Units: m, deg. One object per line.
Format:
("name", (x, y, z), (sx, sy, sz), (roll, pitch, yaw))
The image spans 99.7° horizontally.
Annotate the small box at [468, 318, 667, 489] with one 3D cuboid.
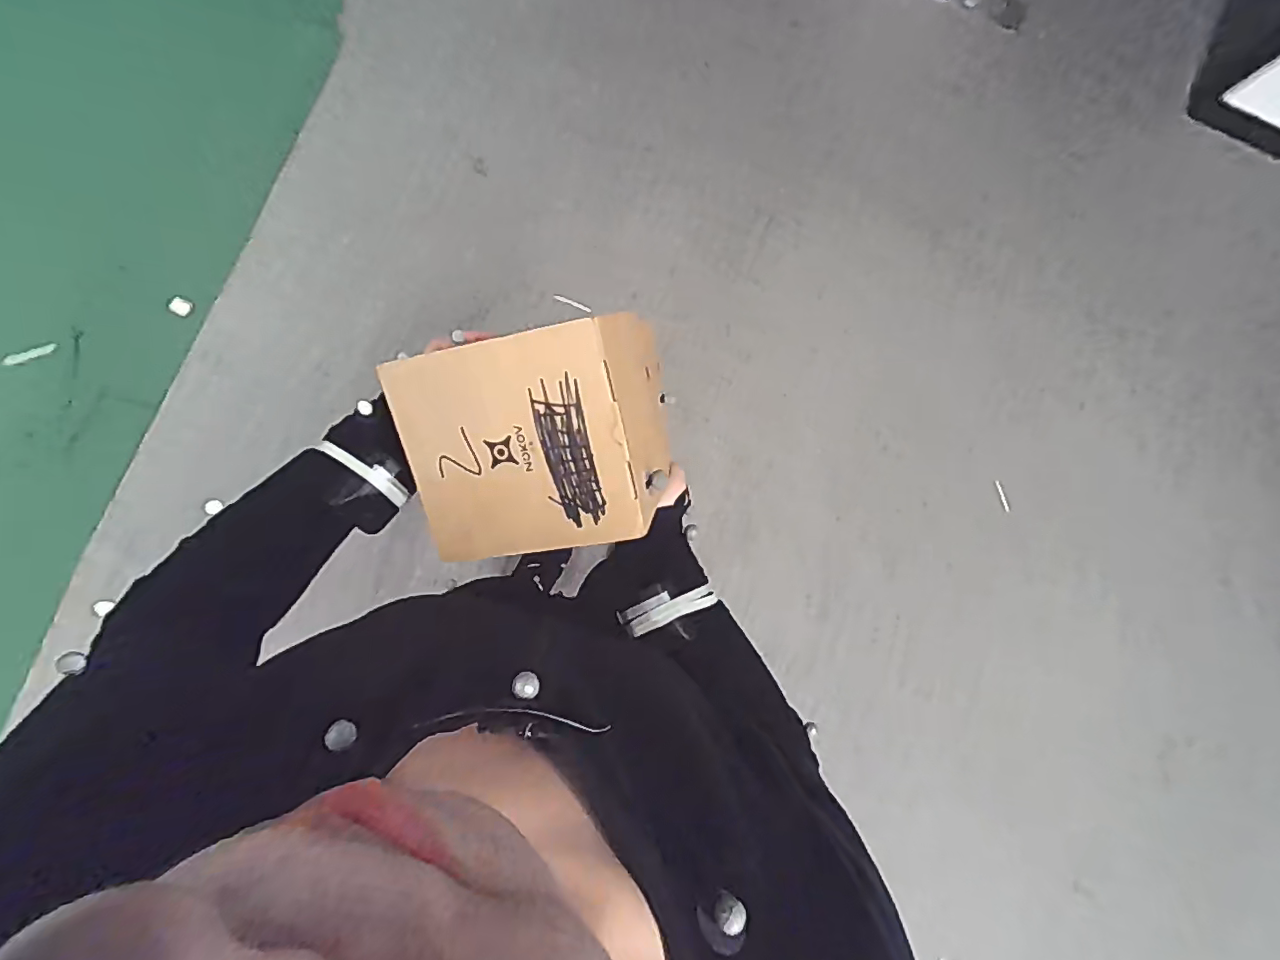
("small box", (-0.071, -0.096, 0.637), (0.179, 0.176, 0.168), (-5, 107, 11))
